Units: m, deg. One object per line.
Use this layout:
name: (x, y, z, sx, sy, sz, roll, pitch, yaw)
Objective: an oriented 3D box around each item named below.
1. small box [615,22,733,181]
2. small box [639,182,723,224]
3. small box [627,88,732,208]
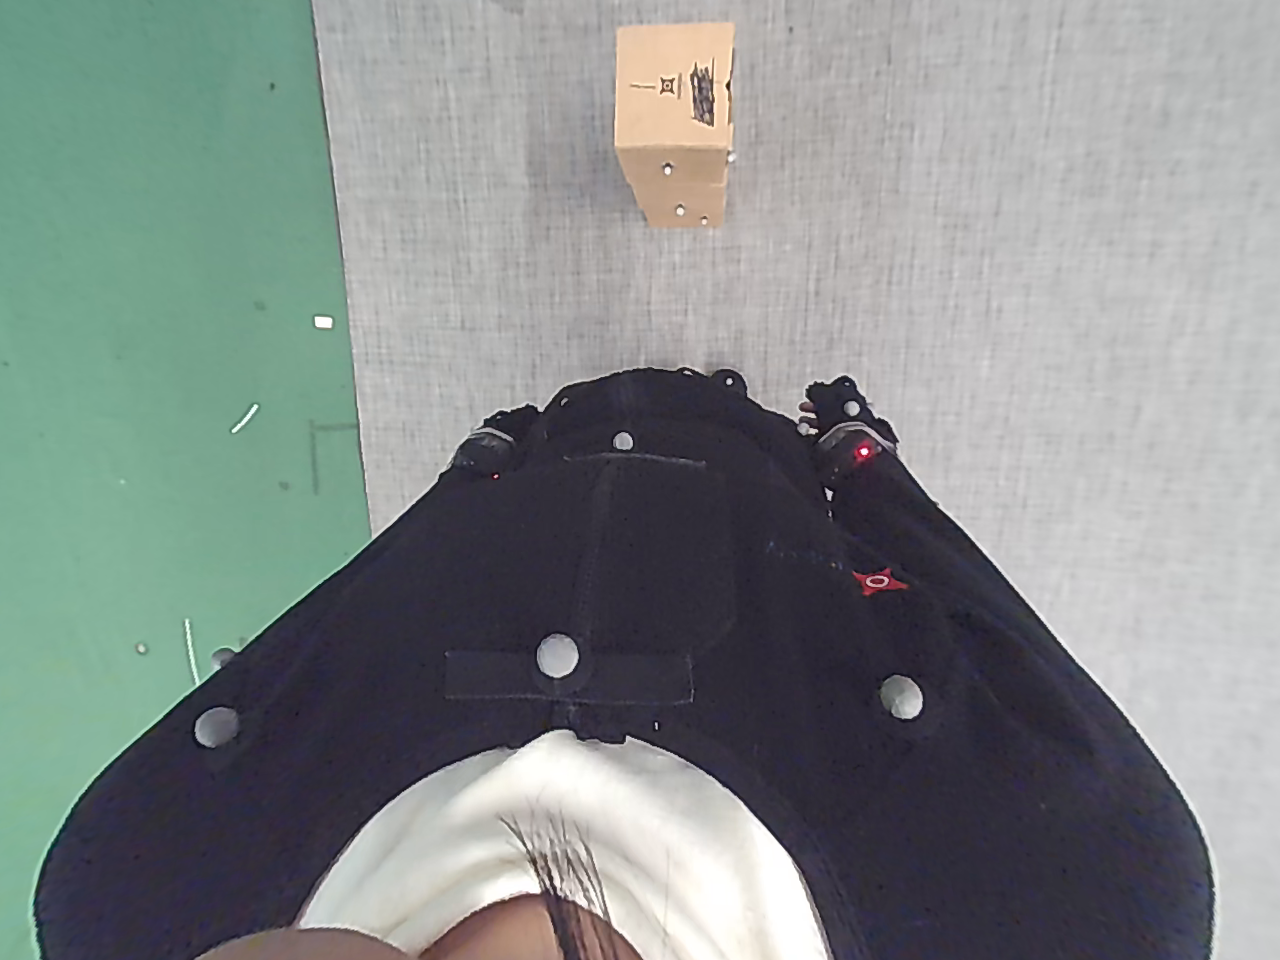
small box: (0.055, -0.606, 0.887, 0.179, 0.176, 0.168, 1, 102, 5)
small box: (0.096, -0.679, 1.205, 0.179, 0.176, 0.168, 2, 102, 8)
small box: (0.076, -0.639, 1.047, 0.179, 0.176, 0.168, 6, 103, 5)
